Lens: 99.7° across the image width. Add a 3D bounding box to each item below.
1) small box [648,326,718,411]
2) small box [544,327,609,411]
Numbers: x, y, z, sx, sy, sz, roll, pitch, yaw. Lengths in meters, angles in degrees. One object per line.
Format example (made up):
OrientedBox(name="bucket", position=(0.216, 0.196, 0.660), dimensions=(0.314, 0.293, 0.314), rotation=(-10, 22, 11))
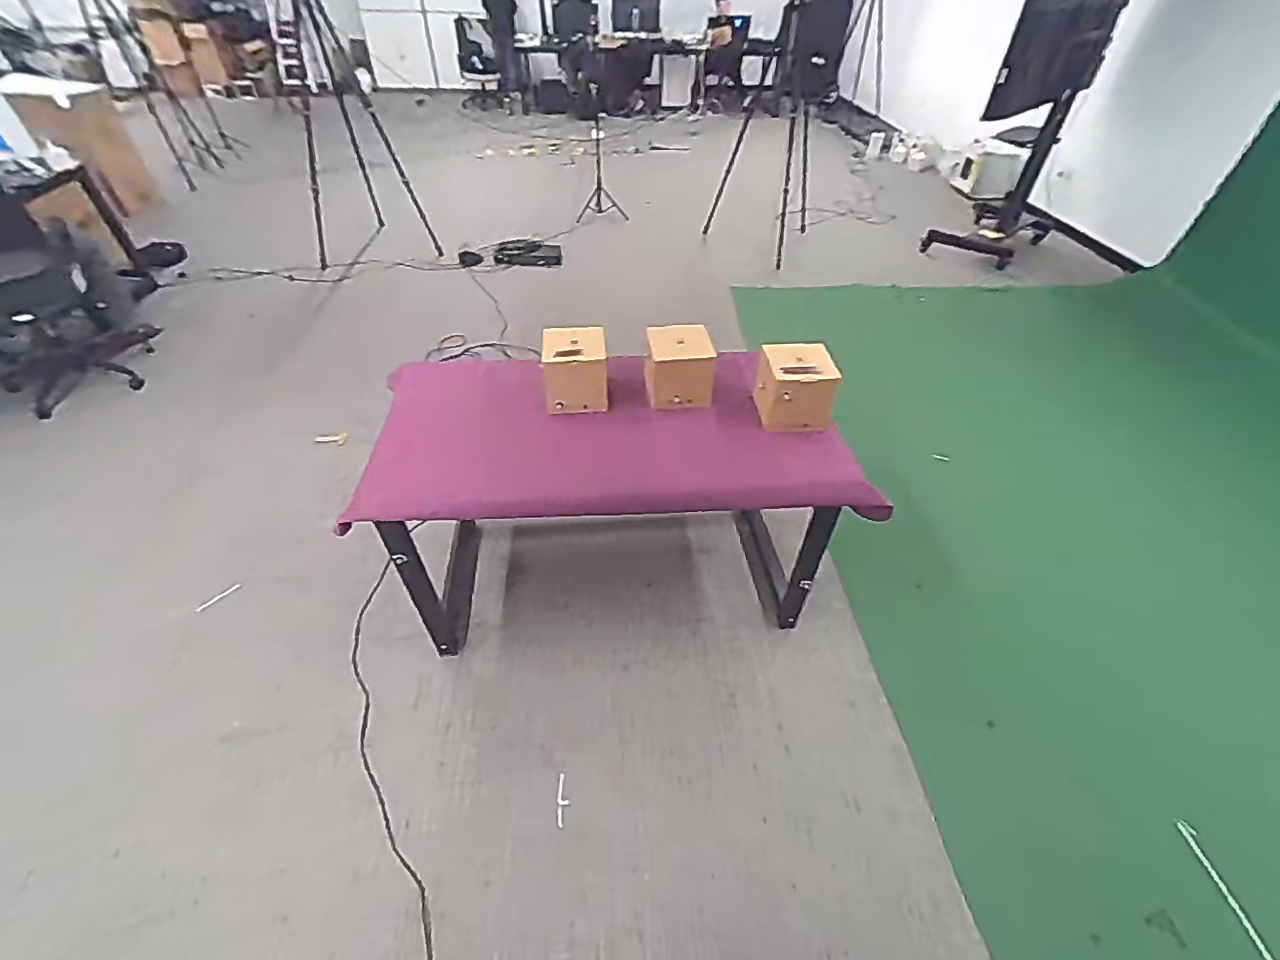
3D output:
OrientedBox(name="small box", position=(0.112, -0.313, 1.515), dimensions=(0.168, 0.176, 0.179), rotation=(-4, 46, -5))
OrientedBox(name="small box", position=(-0.172, -0.303, 1.494), dimensions=(0.168, 0.176, 0.179), rotation=(-3, 44, -5))
